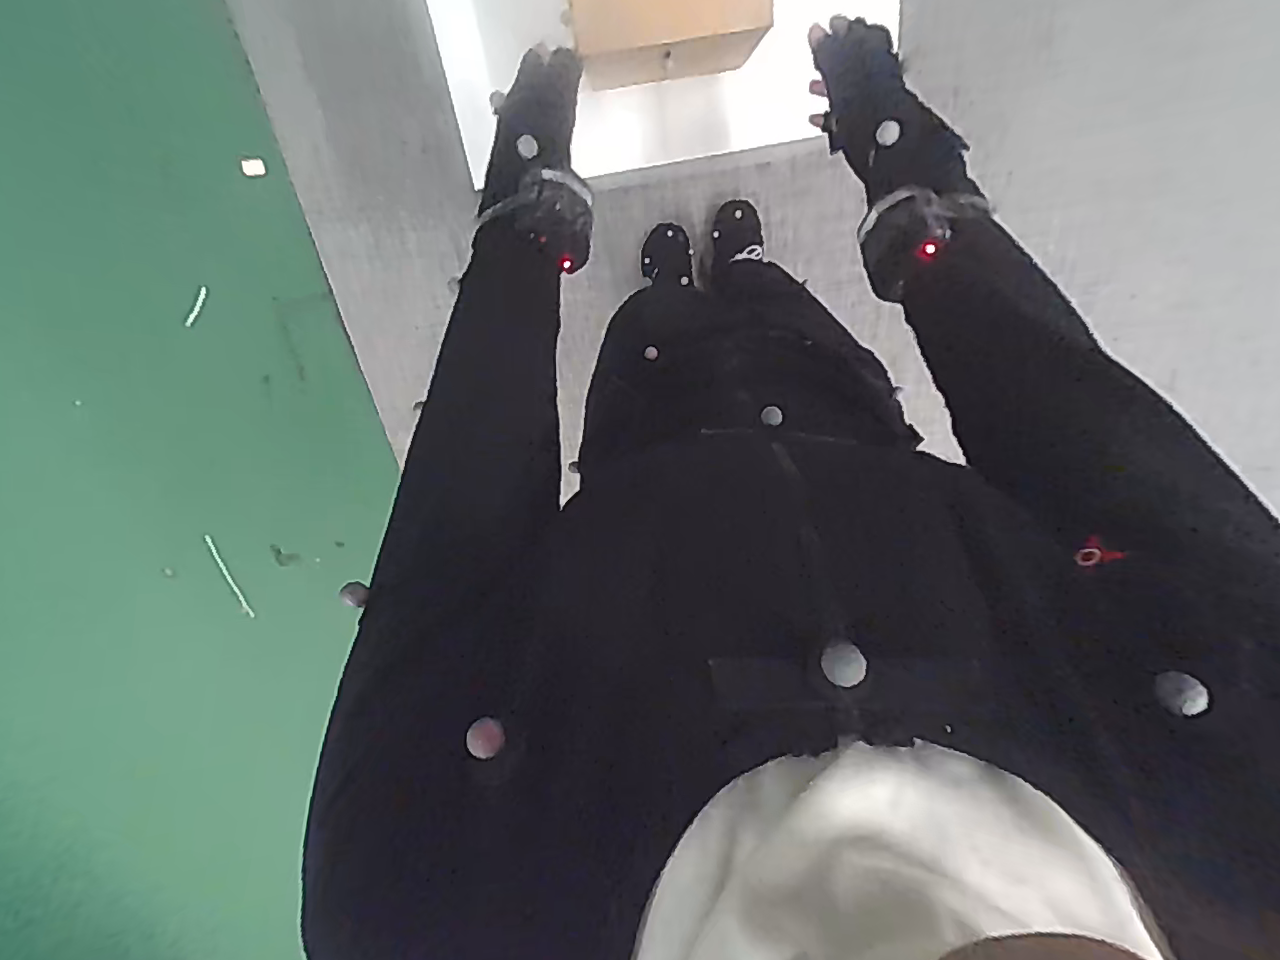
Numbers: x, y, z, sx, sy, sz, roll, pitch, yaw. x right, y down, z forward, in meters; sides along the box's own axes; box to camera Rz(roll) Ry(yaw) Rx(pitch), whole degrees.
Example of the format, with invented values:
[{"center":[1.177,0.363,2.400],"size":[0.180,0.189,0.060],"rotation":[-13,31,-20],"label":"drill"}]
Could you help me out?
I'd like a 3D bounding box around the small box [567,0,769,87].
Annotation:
[{"center":[0.019,-0.497,0.515],"size":[0.179,0.176,0.168],"rotation":[-7,117,3],"label":"small box"}]
